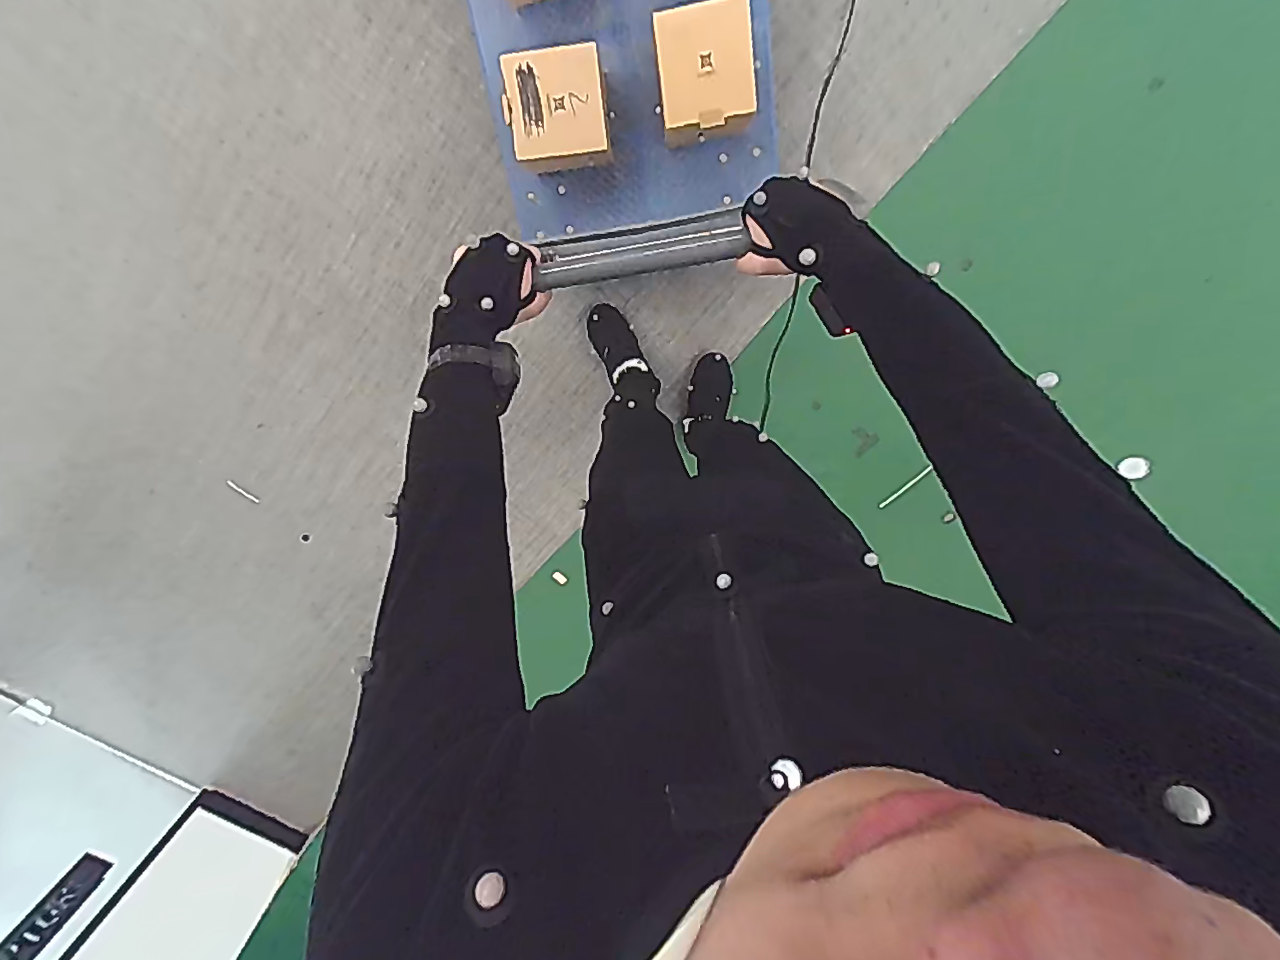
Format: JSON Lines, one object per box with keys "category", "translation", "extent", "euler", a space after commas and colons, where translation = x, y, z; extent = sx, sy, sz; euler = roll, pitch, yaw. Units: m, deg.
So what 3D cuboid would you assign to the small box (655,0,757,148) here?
{"category": "small box", "translation": [0.120, -0.753, 1.020], "extent": [0.168, 0.176, 0.179], "euler": [-8, 113, 5]}
